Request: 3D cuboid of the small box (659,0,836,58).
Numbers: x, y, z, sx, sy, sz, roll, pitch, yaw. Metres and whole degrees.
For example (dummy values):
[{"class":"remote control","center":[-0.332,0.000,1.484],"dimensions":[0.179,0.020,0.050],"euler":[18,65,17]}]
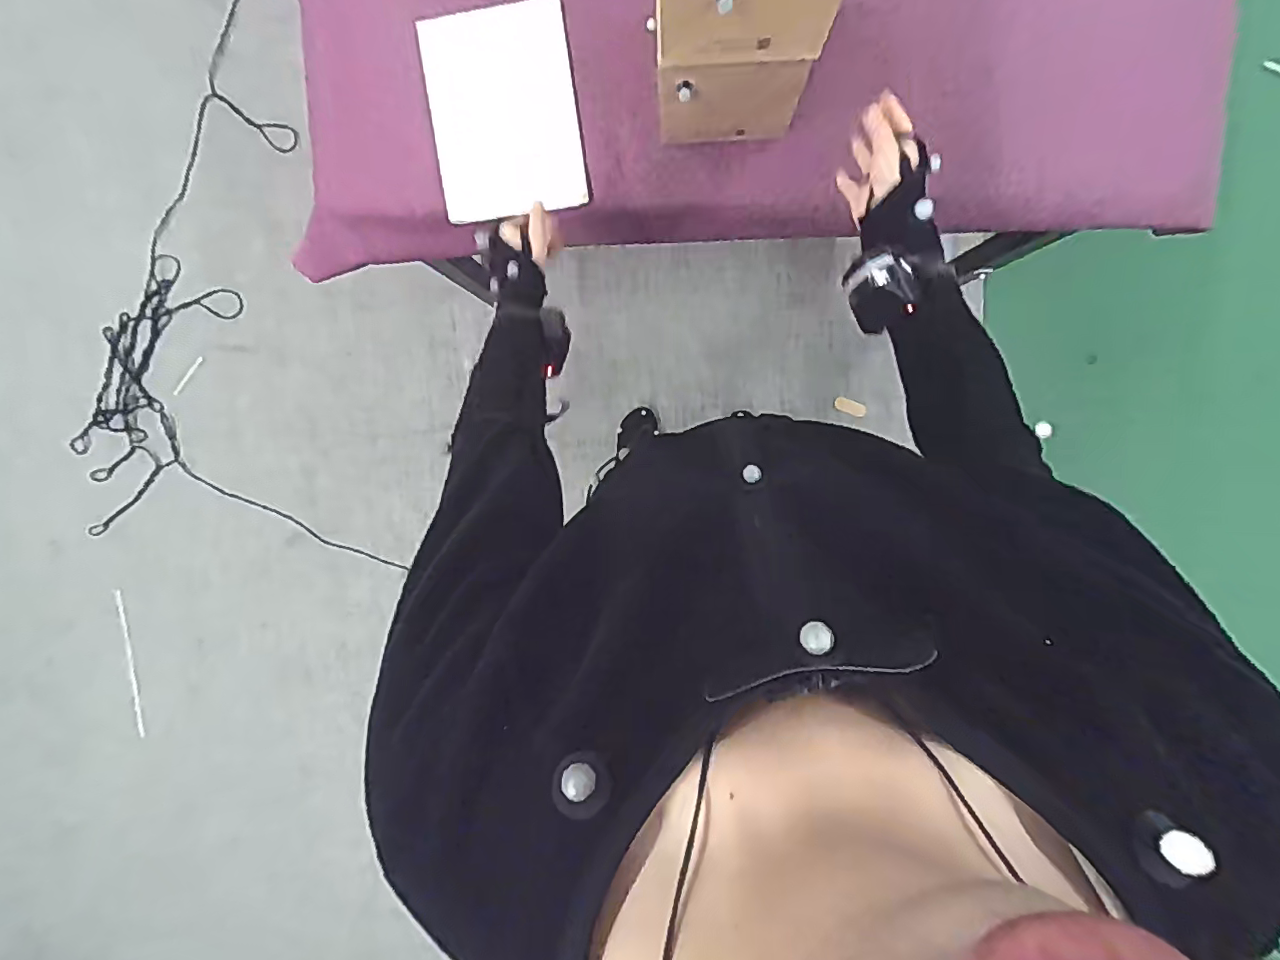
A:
[{"class":"small box","center":[0.099,-0.513,0.478],"dimensions":[0.168,0.176,0.179],"euler":[0,94,3]}]
